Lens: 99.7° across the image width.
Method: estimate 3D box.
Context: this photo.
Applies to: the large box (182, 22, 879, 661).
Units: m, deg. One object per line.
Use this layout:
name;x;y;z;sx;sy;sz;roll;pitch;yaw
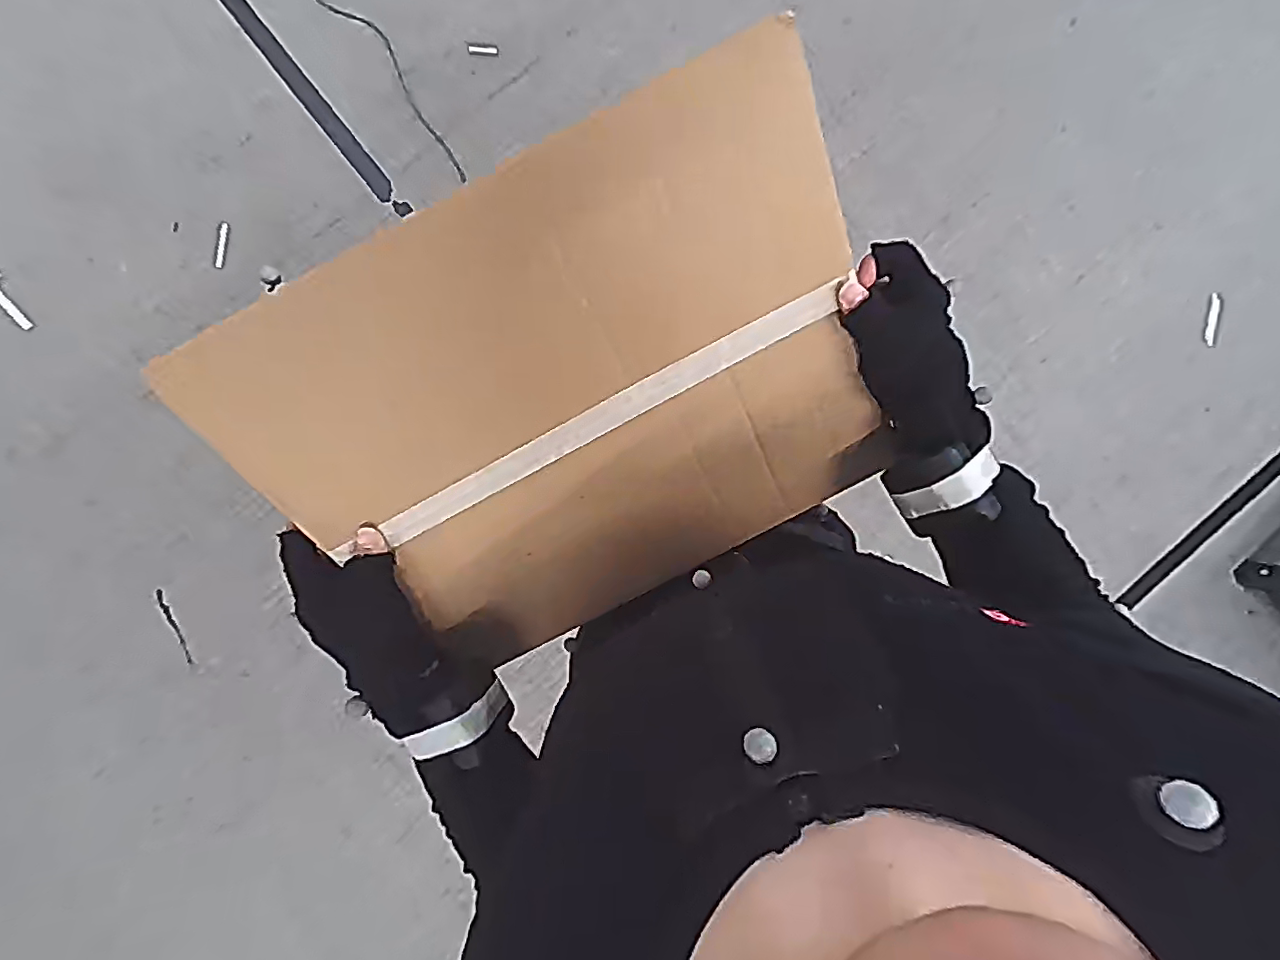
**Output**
large box;-0.068;-0.116;0.512;0.408;0.320;0.320;-28;122;3
